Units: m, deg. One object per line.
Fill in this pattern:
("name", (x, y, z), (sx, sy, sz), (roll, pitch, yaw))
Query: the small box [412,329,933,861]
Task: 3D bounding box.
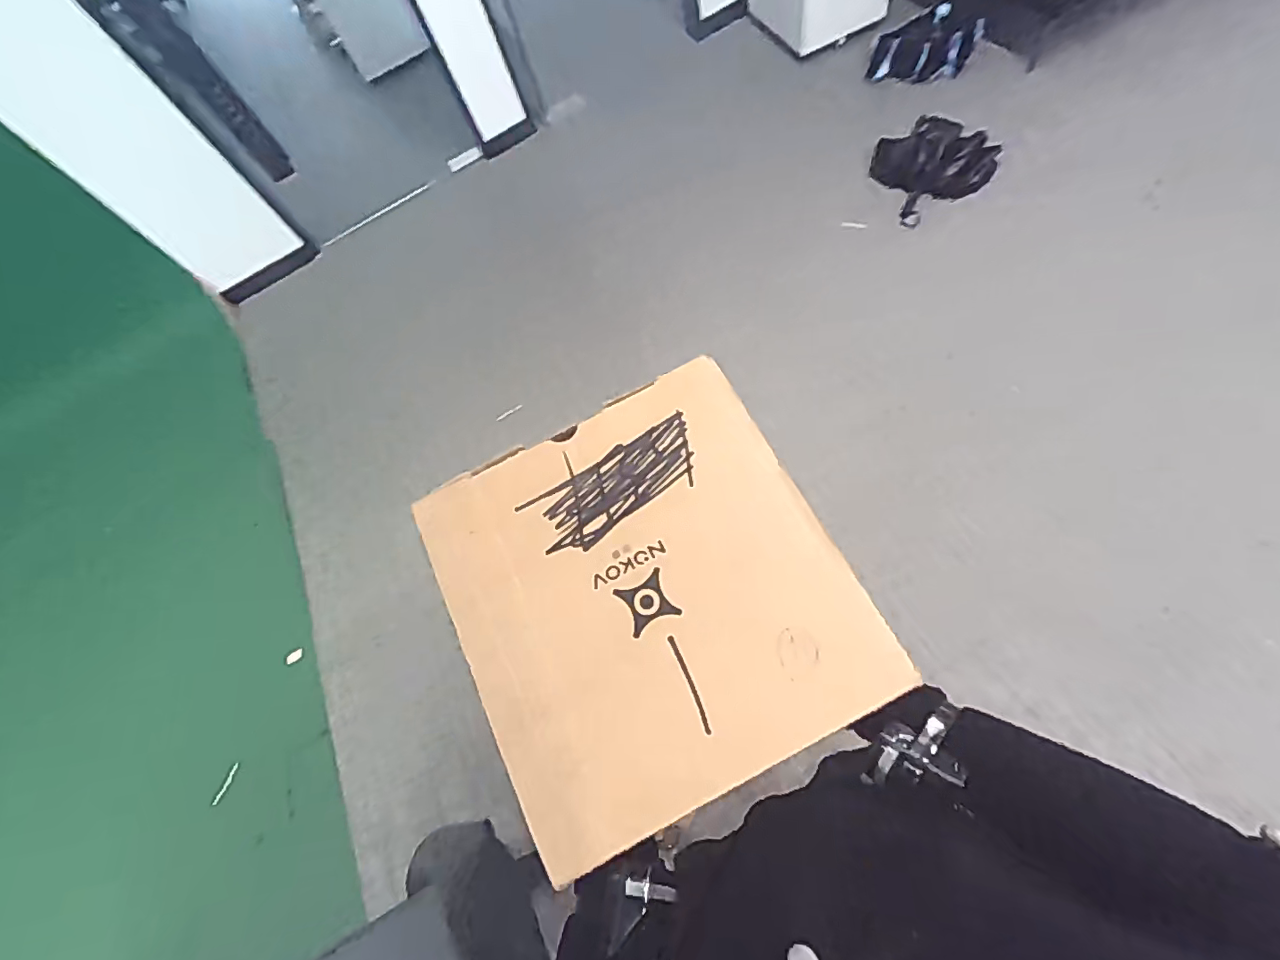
("small box", (0.010, 0.059, 0.301), (0.168, 0.176, 0.179), (-26, 70, -3))
